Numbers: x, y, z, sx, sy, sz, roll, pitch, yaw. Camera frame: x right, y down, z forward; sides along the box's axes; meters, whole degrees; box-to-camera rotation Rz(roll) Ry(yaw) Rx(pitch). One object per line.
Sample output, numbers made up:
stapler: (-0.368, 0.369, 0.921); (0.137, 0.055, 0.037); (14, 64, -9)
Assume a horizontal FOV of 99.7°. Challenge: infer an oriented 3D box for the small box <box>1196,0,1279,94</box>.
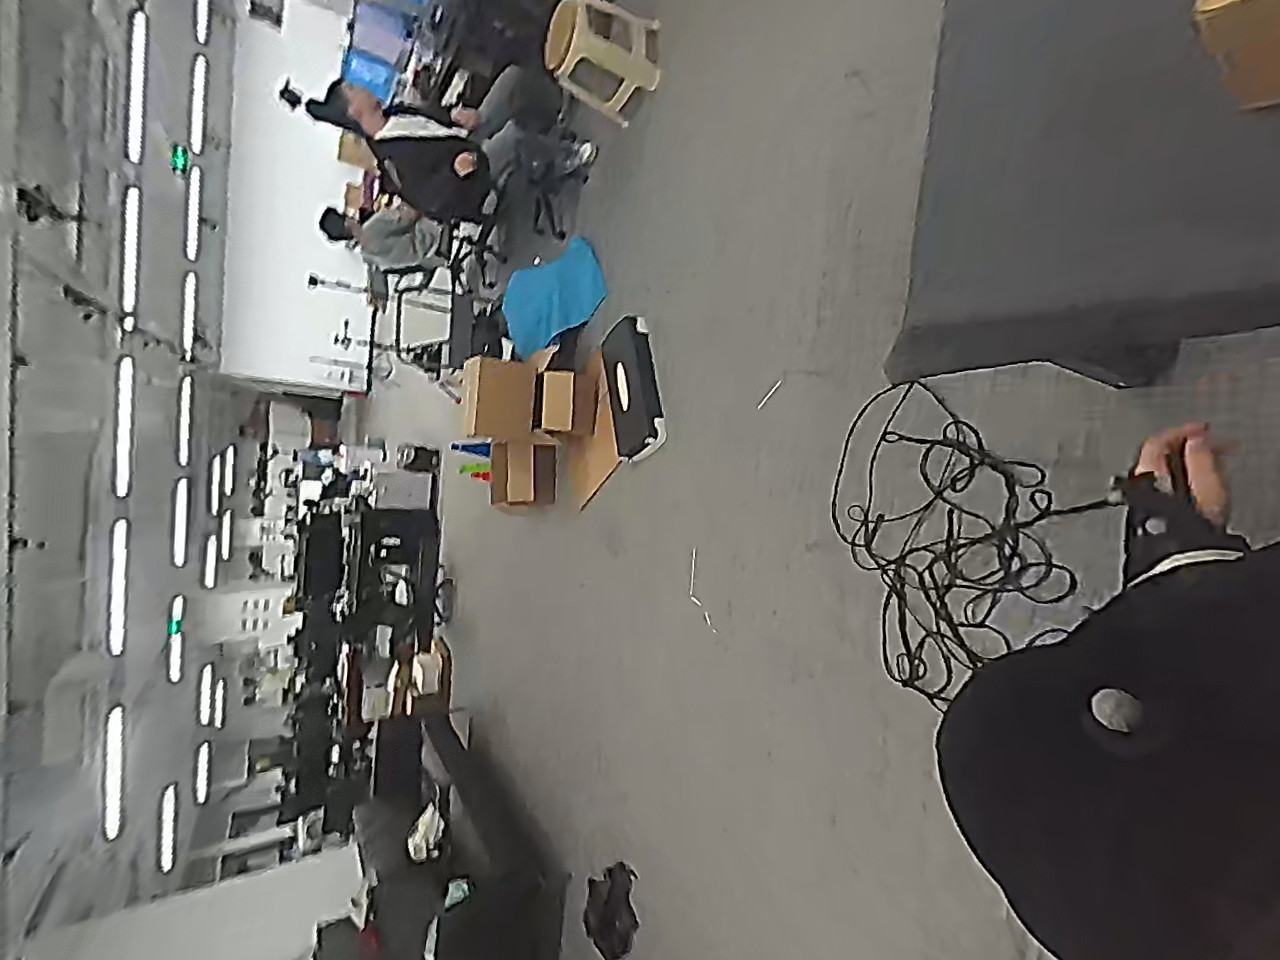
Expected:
small box: (0.522, -0.399, 0.352); (0.179, 0.176, 0.168); (15, 101, 55)
